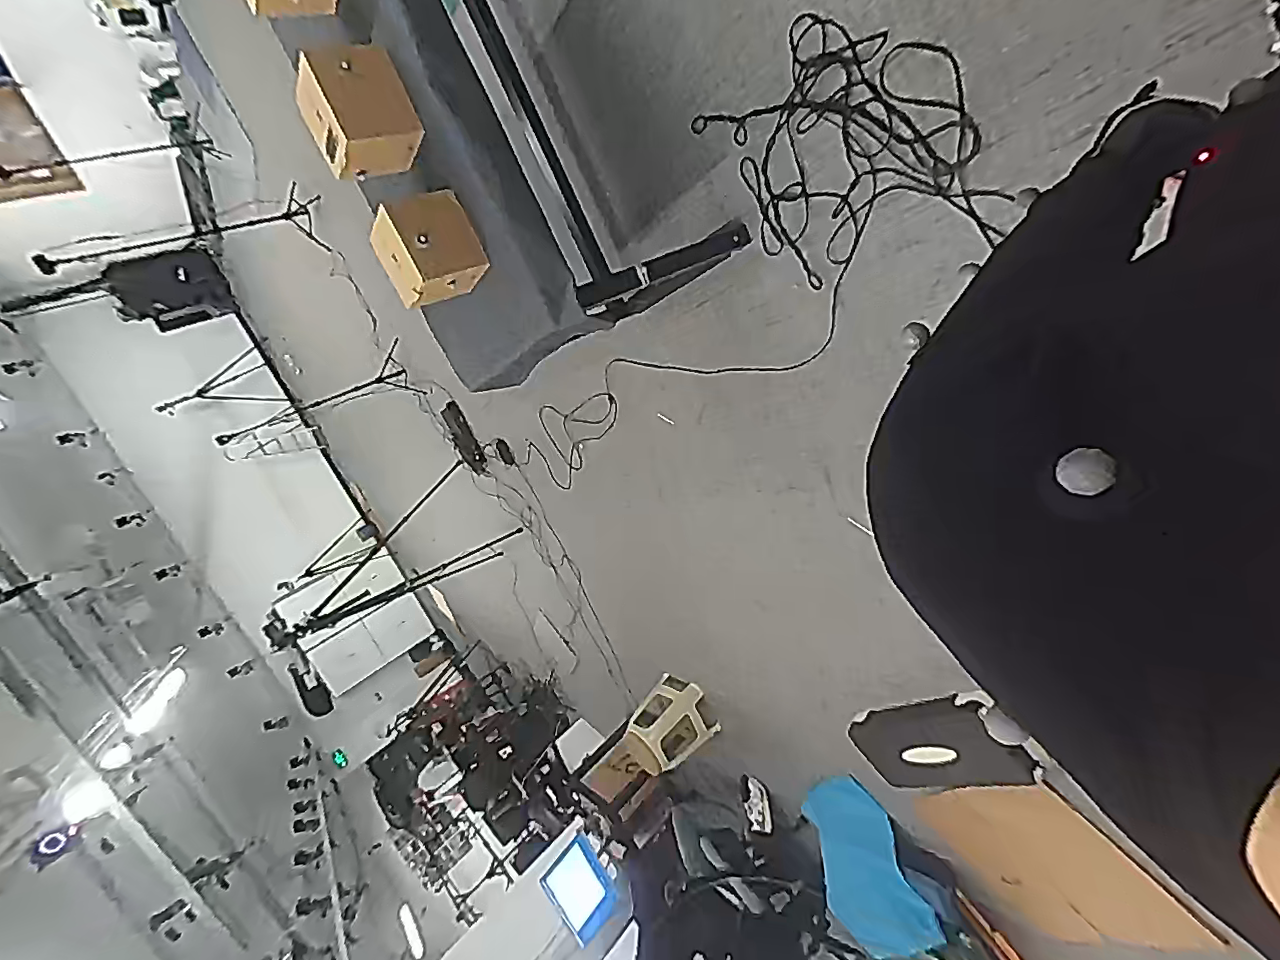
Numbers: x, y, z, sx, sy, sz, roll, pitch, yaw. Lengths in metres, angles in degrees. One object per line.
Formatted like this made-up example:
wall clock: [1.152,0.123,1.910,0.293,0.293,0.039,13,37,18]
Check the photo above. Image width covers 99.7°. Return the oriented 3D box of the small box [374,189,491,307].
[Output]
small box: [-0.465,-0.523,1.220,0.168,0.176,0.179,-11,108,55]

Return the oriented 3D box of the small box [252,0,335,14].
small box: [-0.708,-1.070,1.059,0.168,0.176,0.179,-5,114,55]
